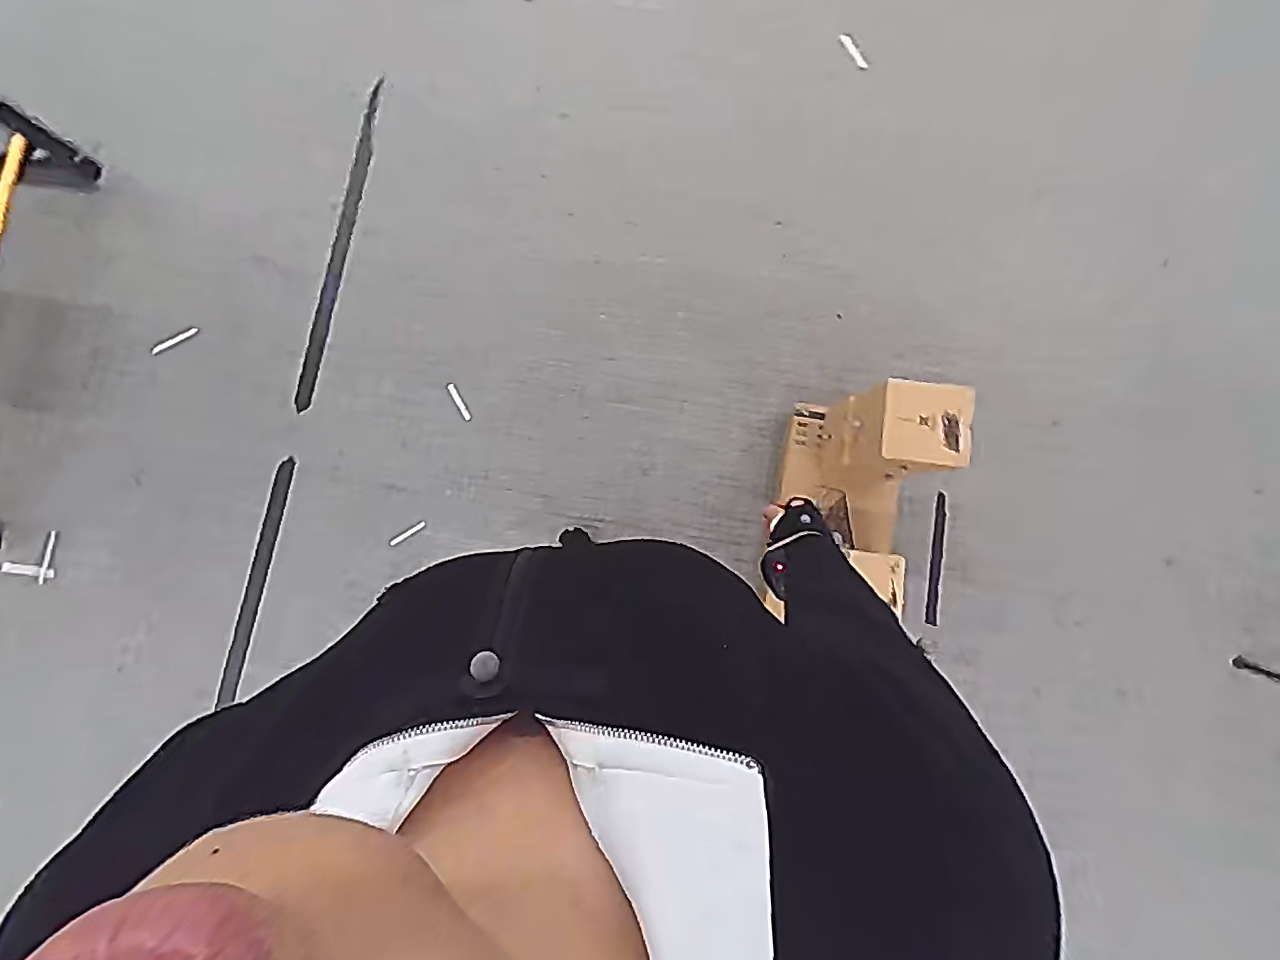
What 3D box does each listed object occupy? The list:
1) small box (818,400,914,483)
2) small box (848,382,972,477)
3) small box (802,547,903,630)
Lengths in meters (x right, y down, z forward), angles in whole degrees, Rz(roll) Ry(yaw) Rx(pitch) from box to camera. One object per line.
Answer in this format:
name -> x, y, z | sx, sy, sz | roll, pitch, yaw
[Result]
small box -> 0.560, -0.088, 1.331 | 0.179, 0.176, 0.168 | 9, 85, 1
small box -> 0.575, -0.102, 1.167 | 0.179, 0.176, 0.168 | 8, 85, 1
small box -> 0.502, 0.256, 1.301 | 0.179, 0.176, 0.168 | 8, 83, 2
